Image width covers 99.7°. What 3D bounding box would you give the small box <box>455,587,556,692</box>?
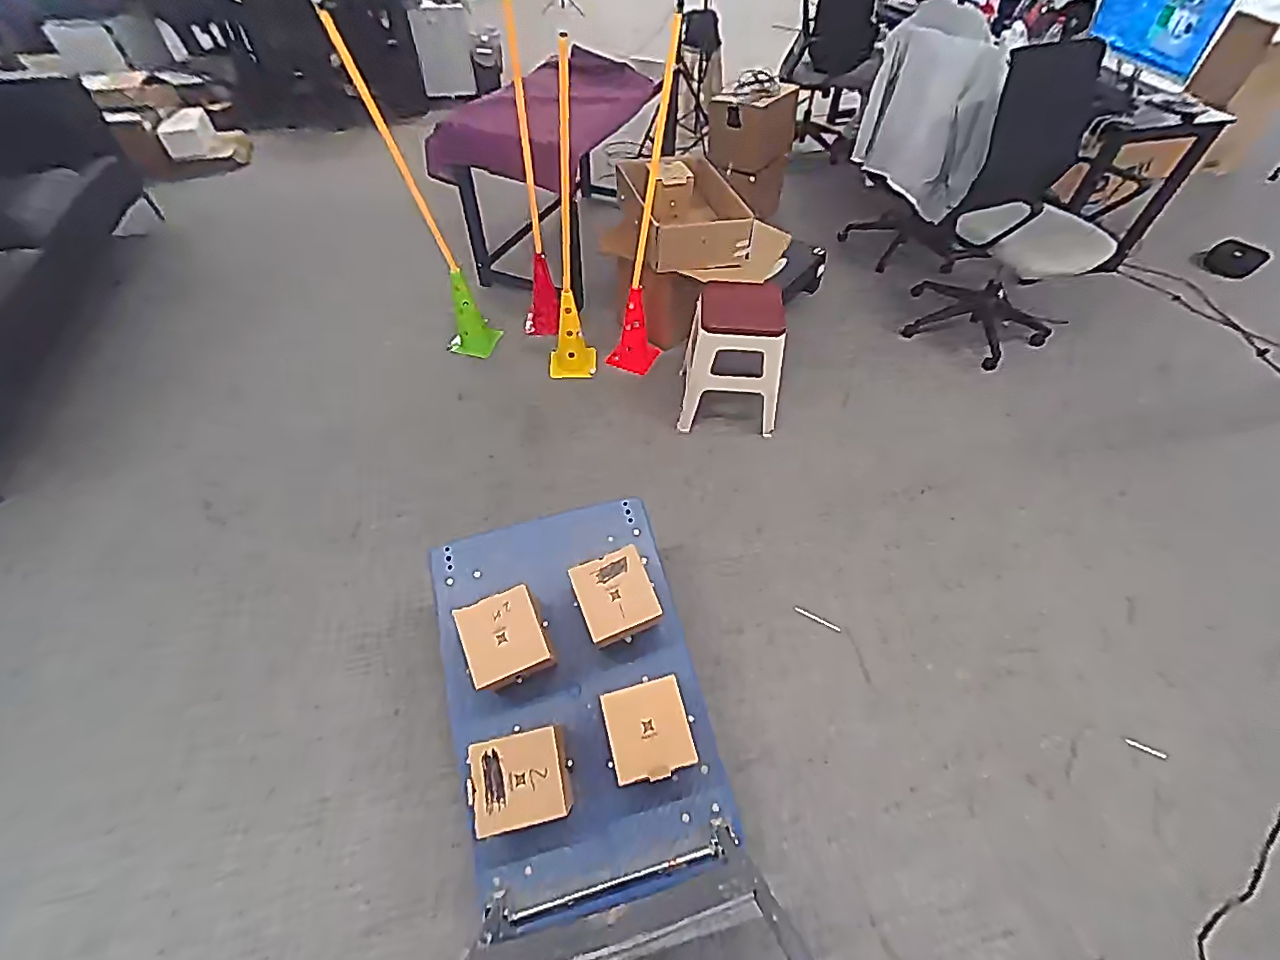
[{"bbox_3d":[-0.300,0.367,1.236,0.168,0.176,0.179,-21,70,-11],"label":"small box"}]

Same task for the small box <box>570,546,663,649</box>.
[{"bbox_3d":[-0.058,0.282,1.278,0.168,0.176,0.179,-20,71,-9],"label":"small box"}]

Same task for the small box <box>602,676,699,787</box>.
[{"bbox_3d":[0.016,0.540,1.176,0.168,0.176,0.179,-14,69,-7],"label":"small box"}]
